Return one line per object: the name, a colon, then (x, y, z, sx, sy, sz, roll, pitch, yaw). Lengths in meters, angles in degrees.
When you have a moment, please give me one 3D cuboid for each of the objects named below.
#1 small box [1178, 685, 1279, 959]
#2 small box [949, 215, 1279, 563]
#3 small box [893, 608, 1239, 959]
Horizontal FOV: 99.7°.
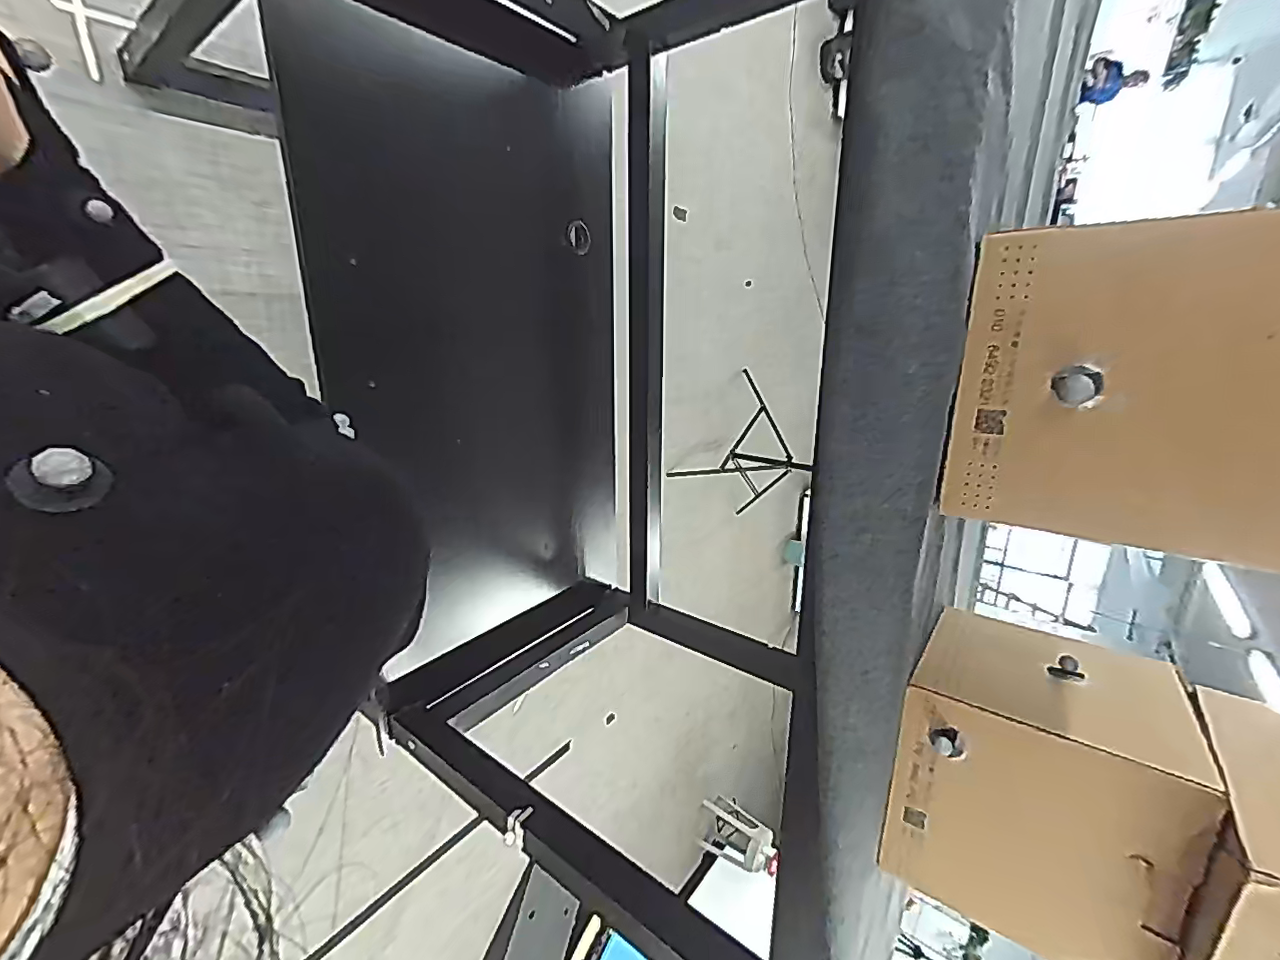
small box: (0.423, 0.255, 0.310, 0.179, 0.176, 0.168, -24, 119, -50)
small box: (0.312, -0.065, 0.344, 0.179, 0.176, 0.168, -21, 115, -51)
small box: (0.313, 0.223, 0.429, 0.179, 0.176, 0.168, -14, 111, -53)
